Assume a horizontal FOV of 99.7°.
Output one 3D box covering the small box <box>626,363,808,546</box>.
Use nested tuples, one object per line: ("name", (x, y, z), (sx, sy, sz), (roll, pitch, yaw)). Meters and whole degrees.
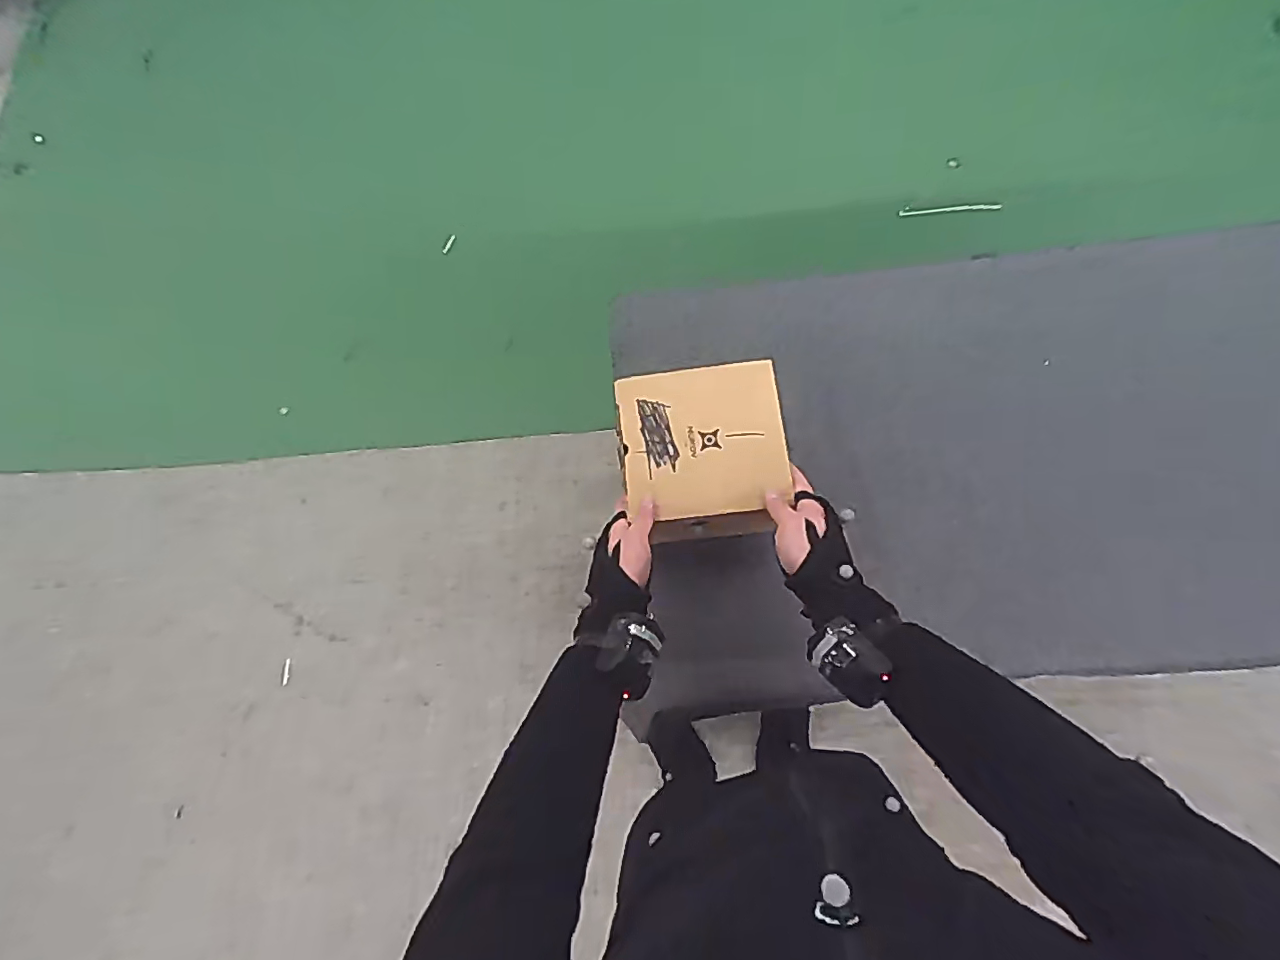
("small box", (0.083, -0.019, 0.640), (0.179, 0.176, 0.168), (-6, 76, 2))
